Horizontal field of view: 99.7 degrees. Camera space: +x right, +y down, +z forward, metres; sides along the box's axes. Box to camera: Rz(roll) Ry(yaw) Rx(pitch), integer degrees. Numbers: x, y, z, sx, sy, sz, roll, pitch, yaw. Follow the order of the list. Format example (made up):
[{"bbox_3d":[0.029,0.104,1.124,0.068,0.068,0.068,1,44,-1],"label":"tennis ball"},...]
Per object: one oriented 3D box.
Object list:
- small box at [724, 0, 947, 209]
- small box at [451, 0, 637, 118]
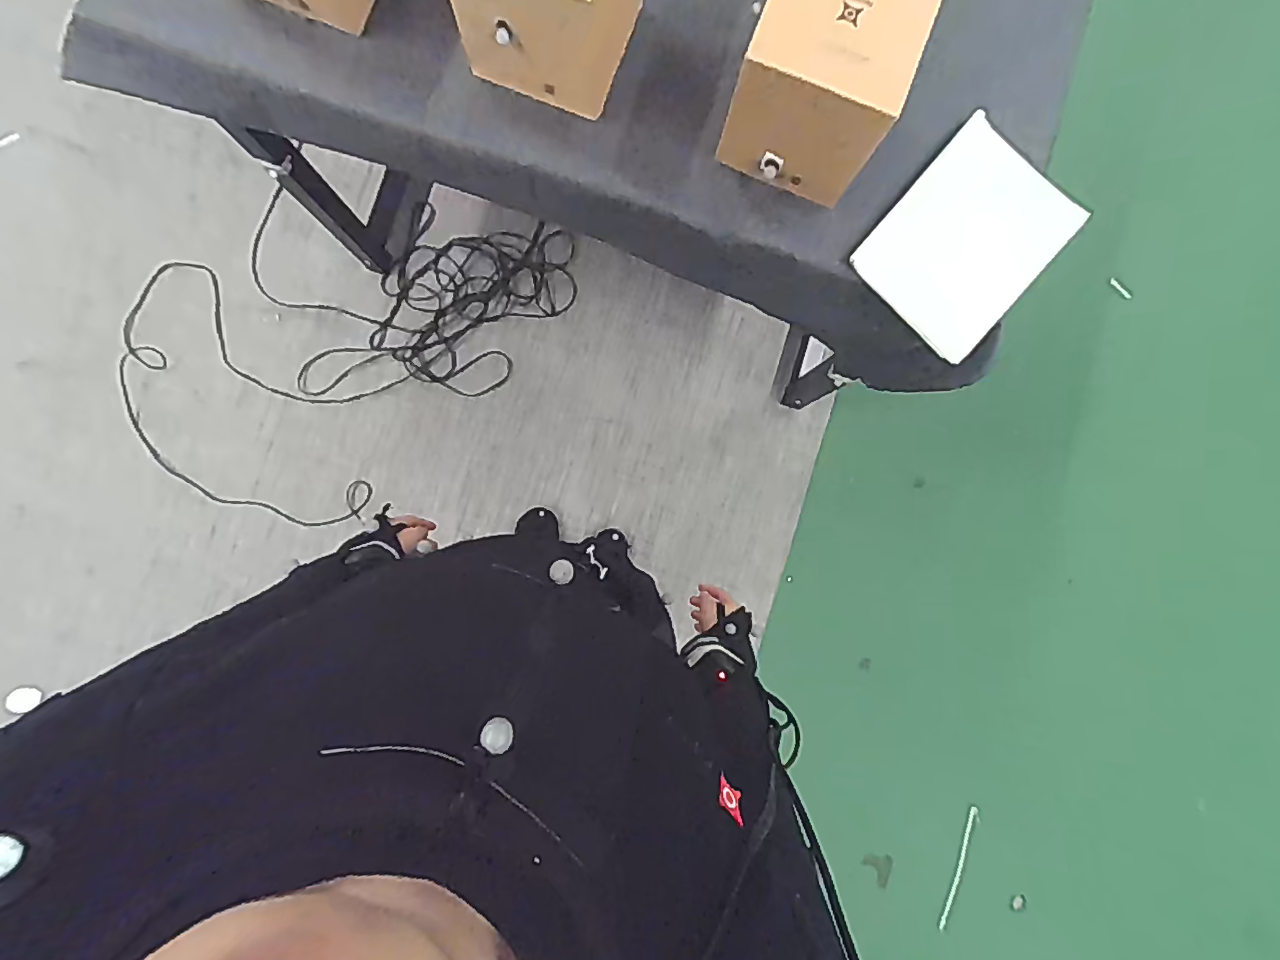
[{"bbox_3d":[0.207,-0.453,0.612,0.168,0.176,0.179,20,87,-1],"label":"small box"},{"bbox_3d":[-0.098,-0.554,0.599,0.168,0.176,0.179,19,85,-2],"label":"small box"}]
